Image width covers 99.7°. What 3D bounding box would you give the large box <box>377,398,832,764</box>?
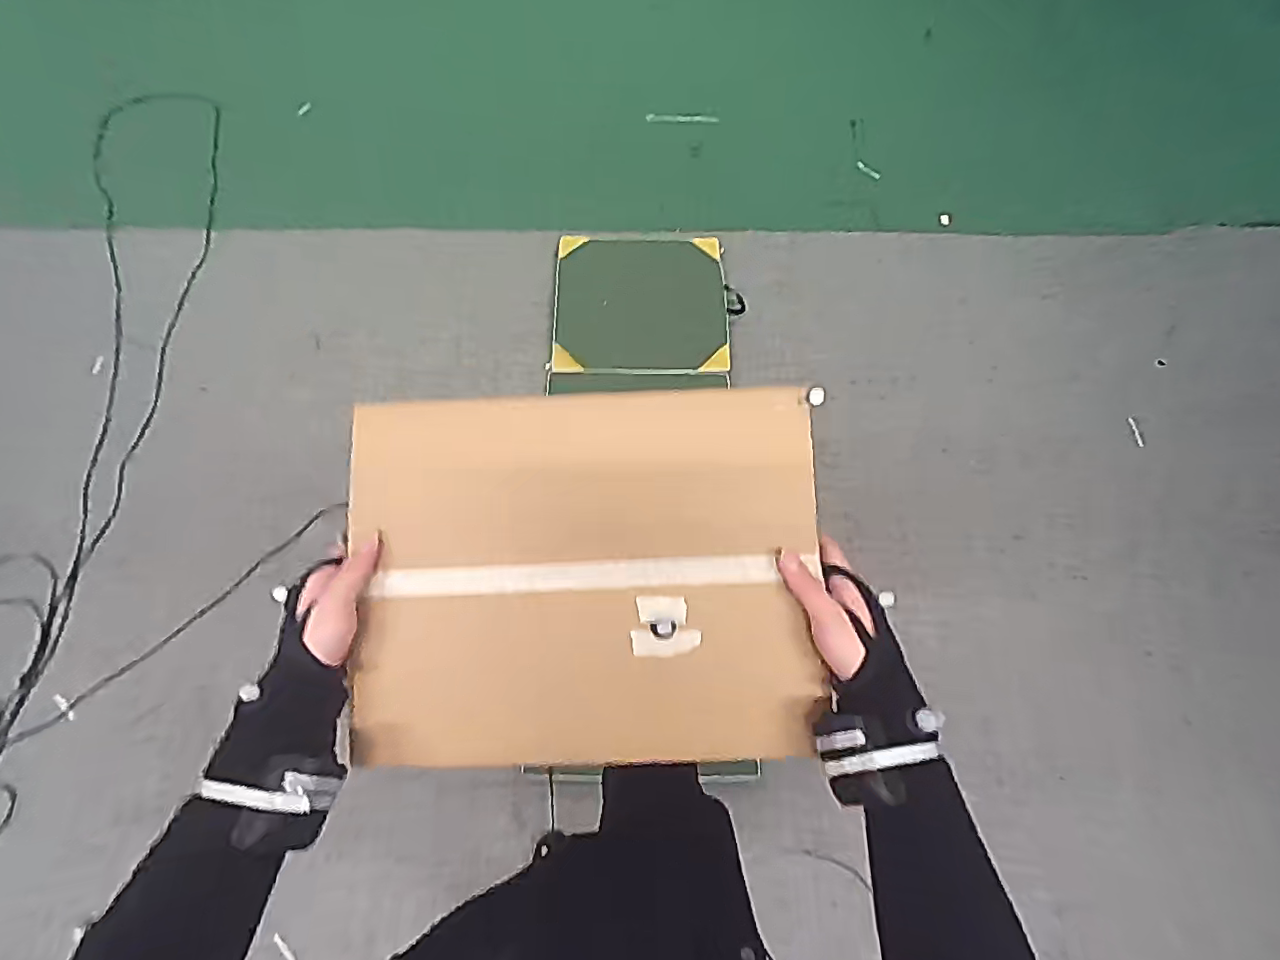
[{"bbox_3d":[-0.038,0.104,0.633,0.408,0.320,0.320,-2,84,0],"label":"large box"}]
